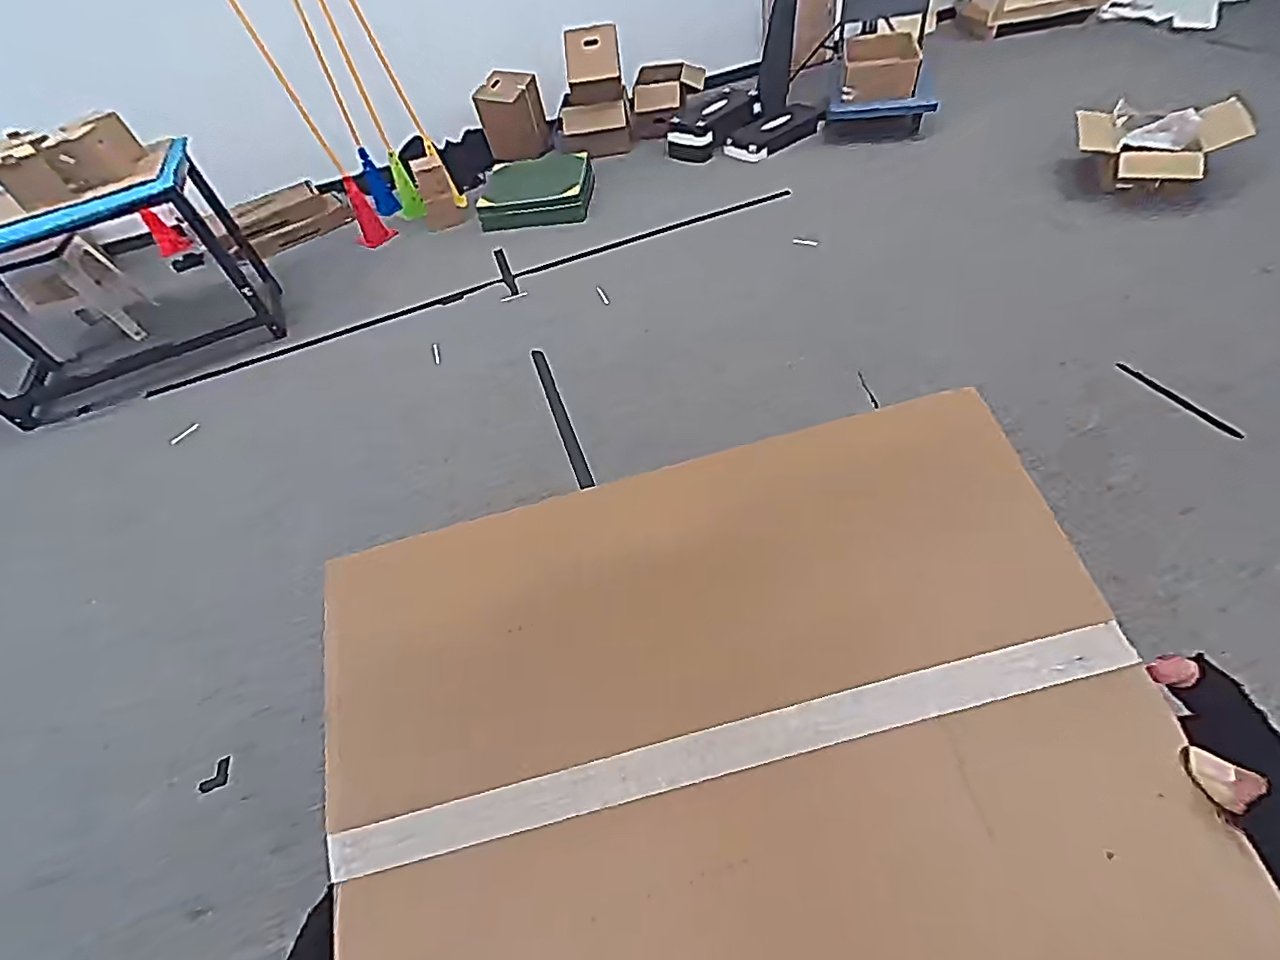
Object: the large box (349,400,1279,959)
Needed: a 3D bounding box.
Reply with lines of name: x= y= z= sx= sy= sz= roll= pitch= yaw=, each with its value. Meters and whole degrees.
large box: x=0.061 y=0.196 z=0.413 sx=0.408 sy=0.320 sz=0.320 roll=-16 pitch=67 yaw=0
